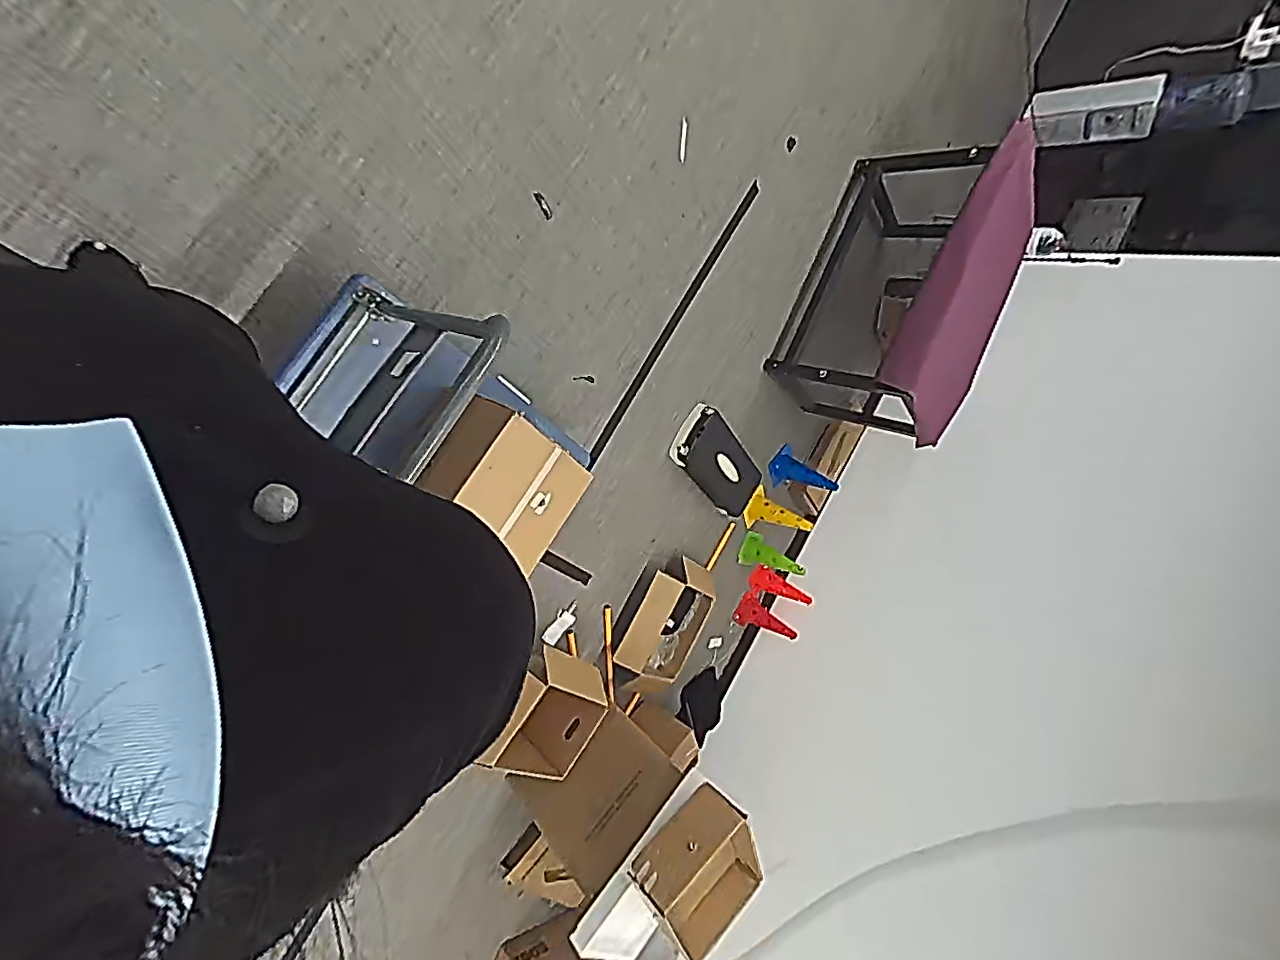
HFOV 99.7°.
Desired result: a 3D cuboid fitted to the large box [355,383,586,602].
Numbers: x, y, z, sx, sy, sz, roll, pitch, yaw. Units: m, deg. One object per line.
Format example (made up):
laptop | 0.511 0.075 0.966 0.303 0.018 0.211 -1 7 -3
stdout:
large box | -0.417 0.027 1.348 0.408 0.320 0.320 -59 139 -11
